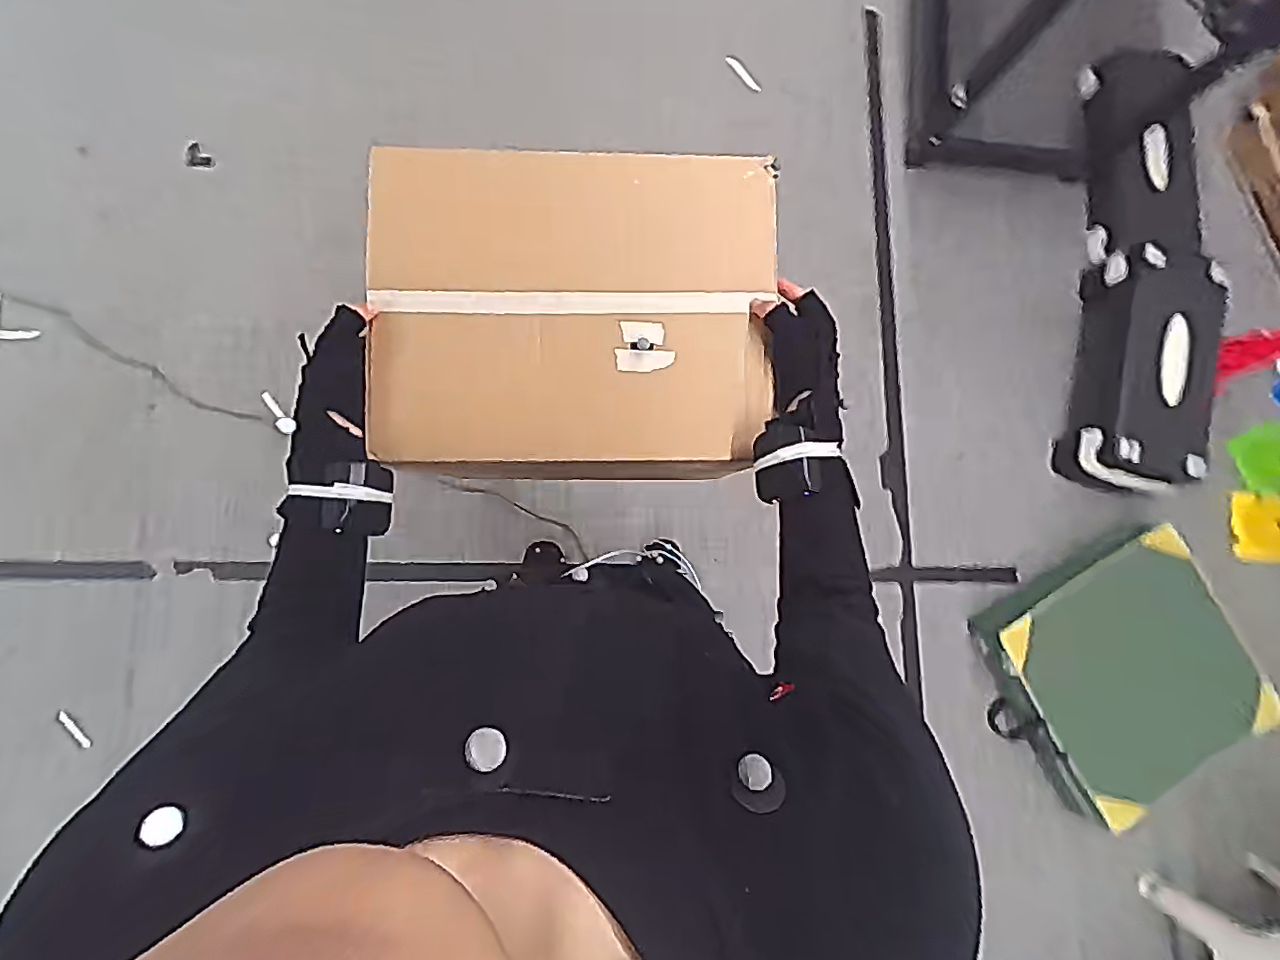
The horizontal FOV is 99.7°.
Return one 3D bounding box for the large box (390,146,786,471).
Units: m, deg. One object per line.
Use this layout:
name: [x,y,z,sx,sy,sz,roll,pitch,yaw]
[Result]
large box: [-0.059,-0.177,0.696,0.408,0.320,0.320,1,88,-4]
